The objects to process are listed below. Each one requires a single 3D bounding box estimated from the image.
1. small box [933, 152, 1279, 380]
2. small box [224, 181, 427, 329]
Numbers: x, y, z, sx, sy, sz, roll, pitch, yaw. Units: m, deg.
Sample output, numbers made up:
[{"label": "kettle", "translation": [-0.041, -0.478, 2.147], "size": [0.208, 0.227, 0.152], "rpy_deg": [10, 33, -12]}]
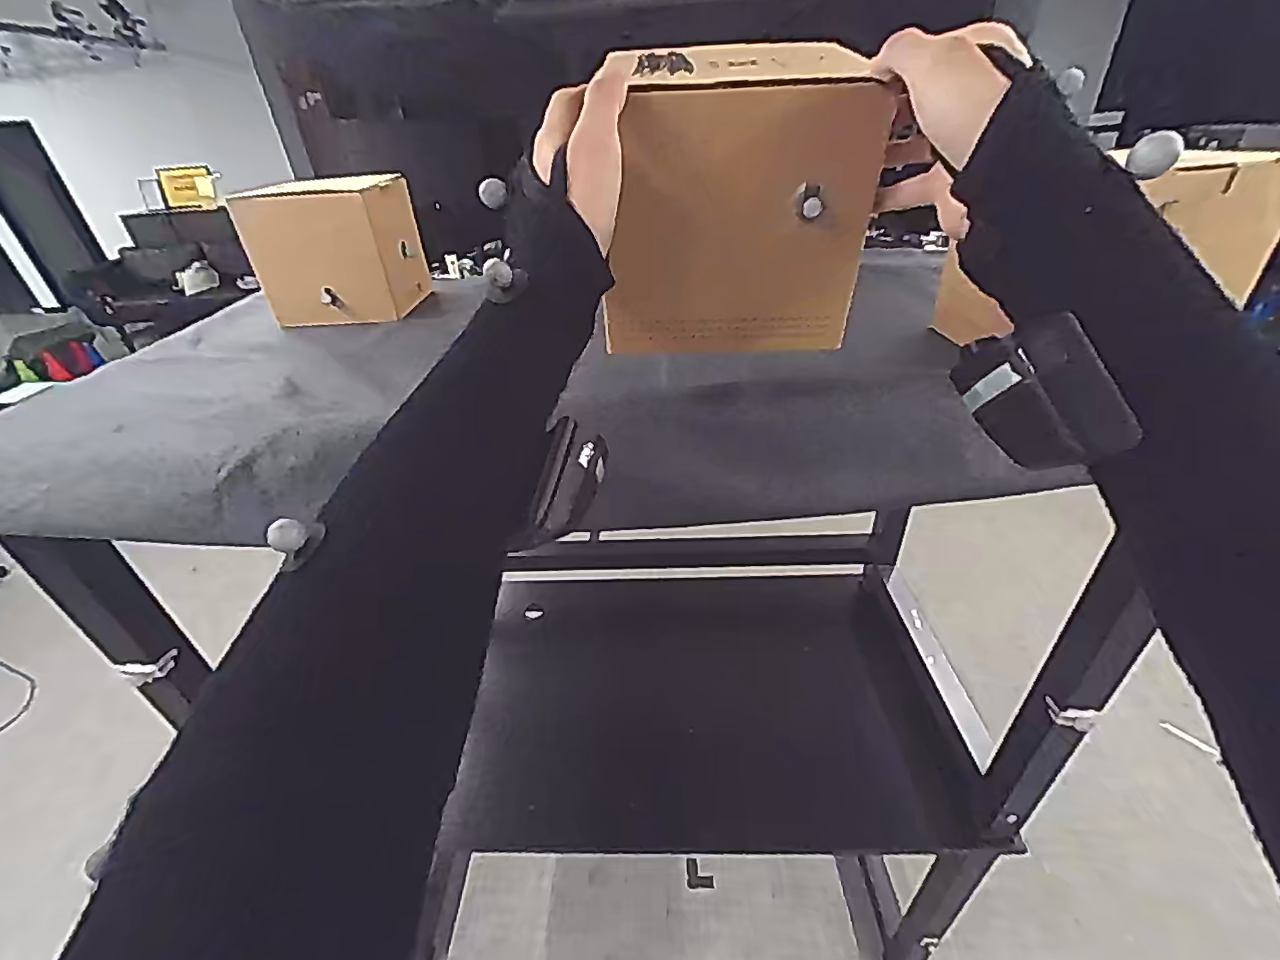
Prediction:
[{"label": "small box", "translation": [0.409, -0.199, 0.506], "size": [0.168, 0.176, 0.179], "rpy_deg": [-4, 32, 0]}, {"label": "small box", "translation": [-0.430, -0.326, 0.781], "size": [0.179, 0.176, 0.168], "rpy_deg": [-2, 34, 0]}]
